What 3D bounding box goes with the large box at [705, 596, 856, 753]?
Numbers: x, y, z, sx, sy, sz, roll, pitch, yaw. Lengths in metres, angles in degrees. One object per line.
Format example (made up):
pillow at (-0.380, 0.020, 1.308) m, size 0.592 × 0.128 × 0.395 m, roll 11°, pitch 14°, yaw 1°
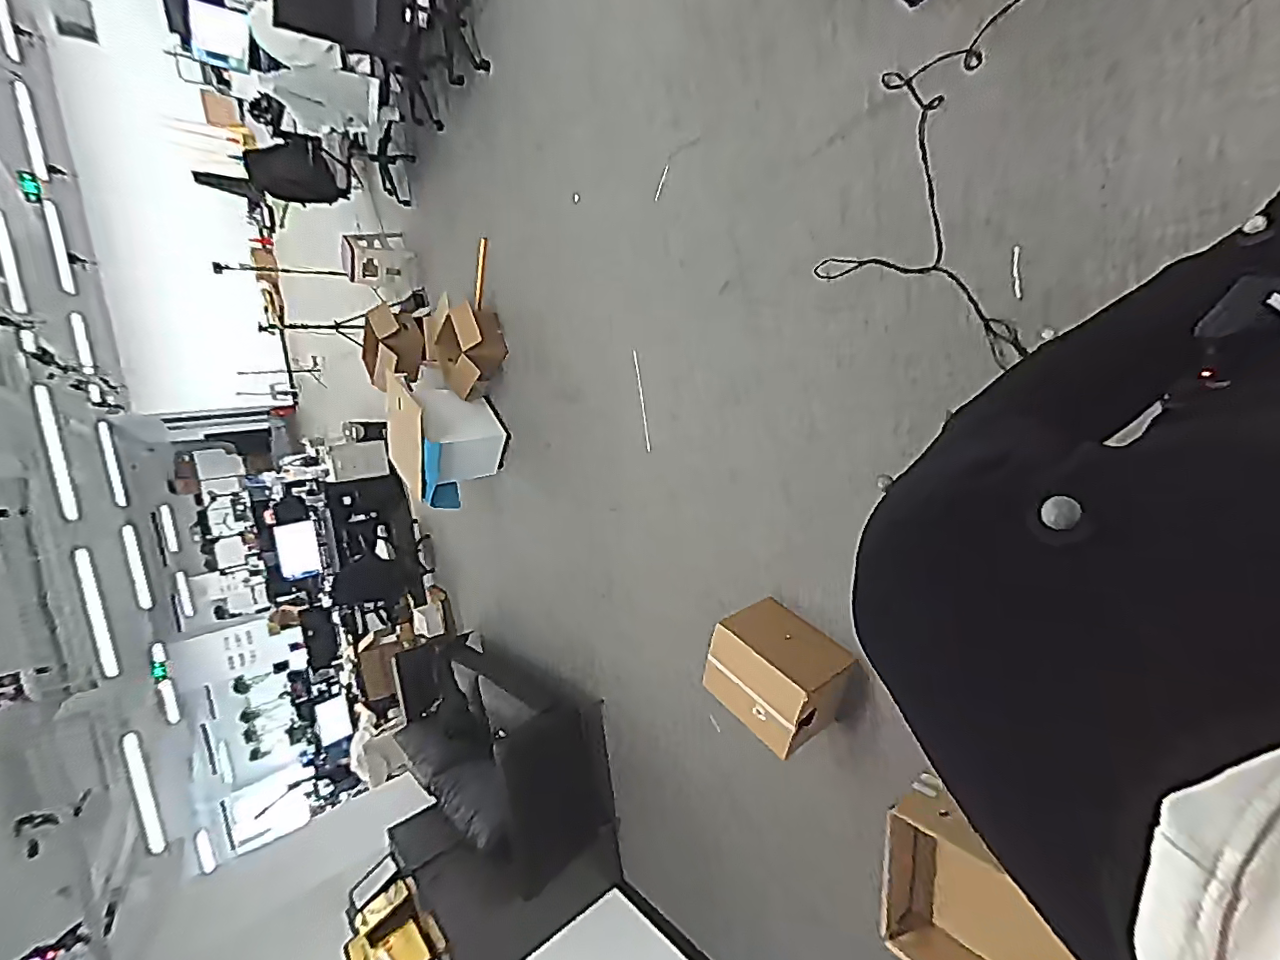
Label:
large box at (0.507, 0.692, 1.998) m, size 0.408 × 0.320 × 0.320 m, roll 31°, pitch 124°, yaw 41°
